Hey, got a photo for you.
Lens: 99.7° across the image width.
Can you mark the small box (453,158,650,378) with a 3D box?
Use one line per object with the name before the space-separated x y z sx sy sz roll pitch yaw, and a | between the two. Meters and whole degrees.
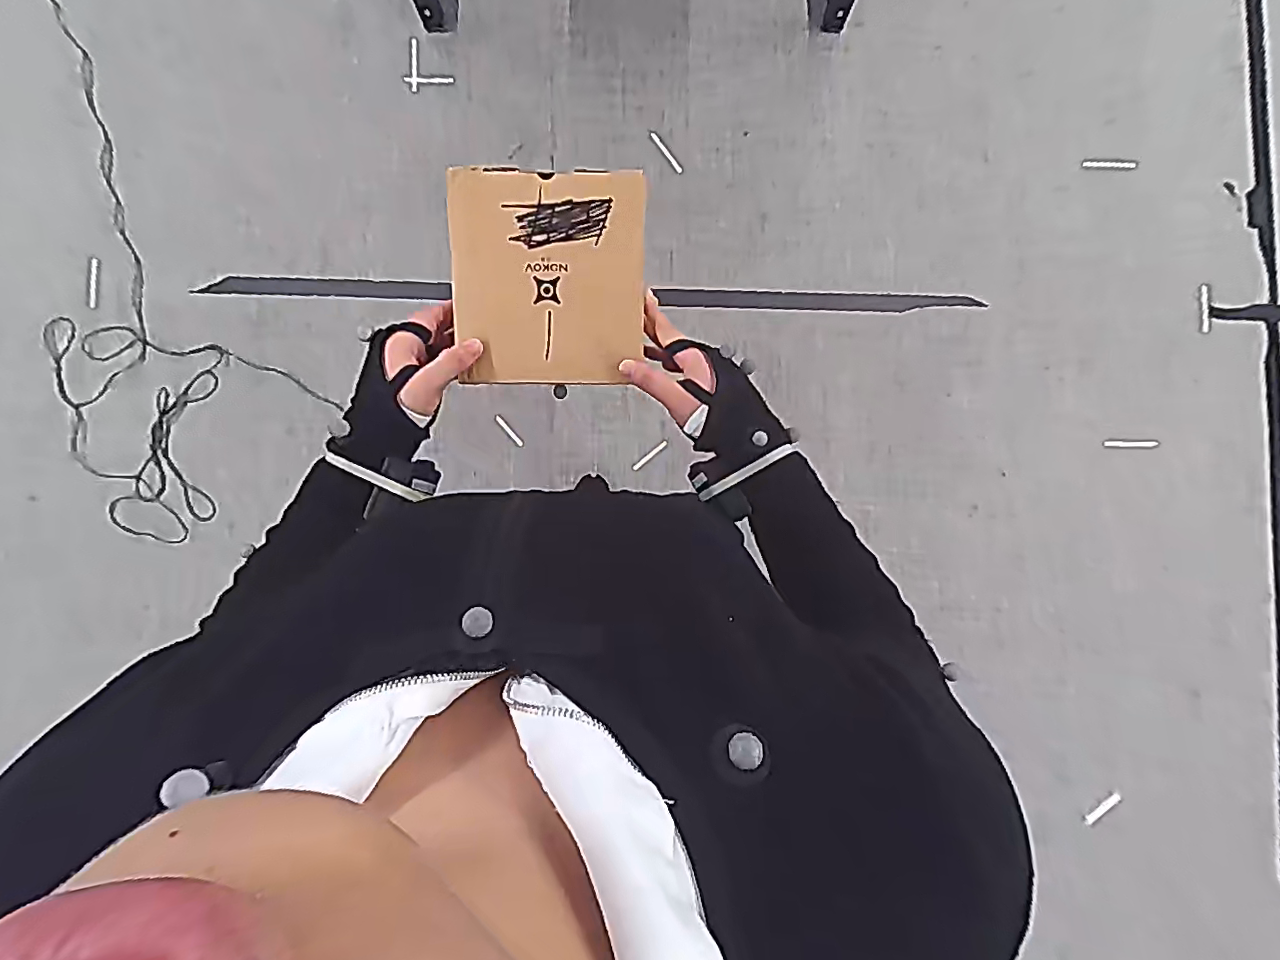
small box | -0.078 -0.193 0.541 0.168 0.176 0.179 0 101 -1
